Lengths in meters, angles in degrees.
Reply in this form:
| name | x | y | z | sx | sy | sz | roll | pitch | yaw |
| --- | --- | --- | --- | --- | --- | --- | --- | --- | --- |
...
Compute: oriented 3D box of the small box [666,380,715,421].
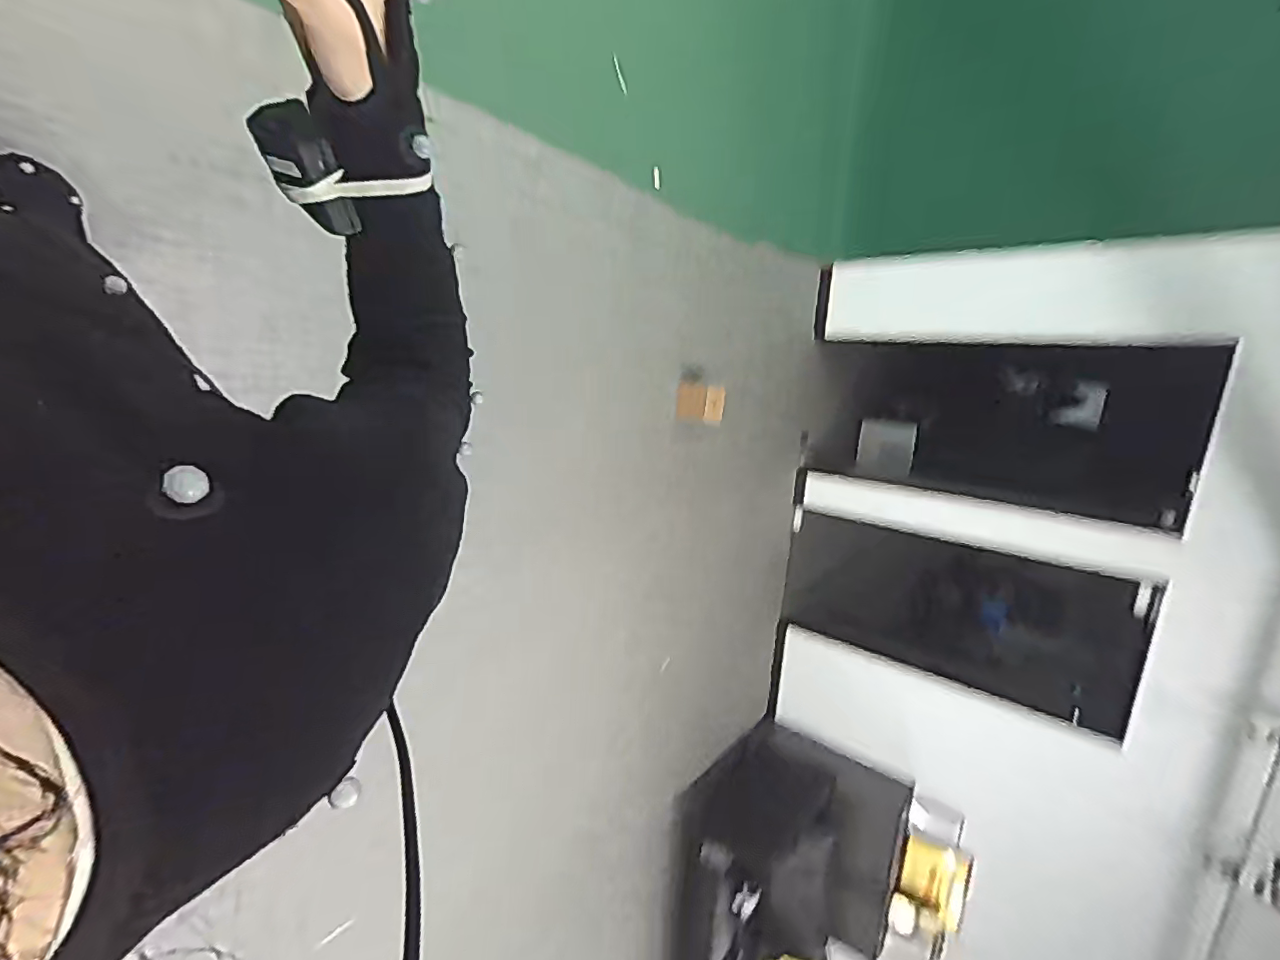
| name | x | y | z | sx | sy | sz | roll | pitch | yaw |
| --- | --- | --- | --- | --- | --- | --- | --- | --- | --- |
| small box | 0.245 | -0.389 | 2.651 | 0.168 | 0.176 | 0.179 | -1 | 101 | -53 |
